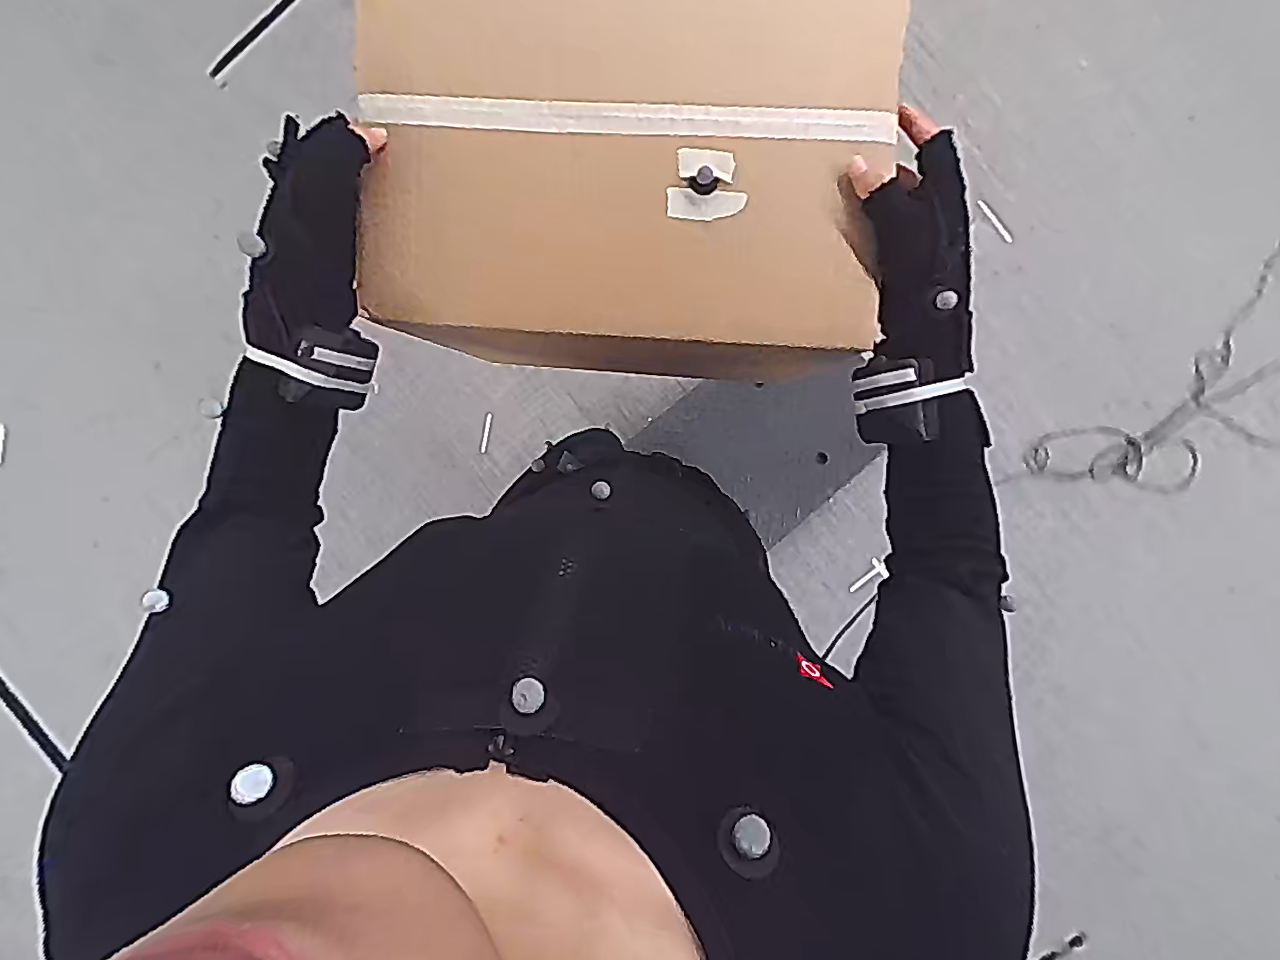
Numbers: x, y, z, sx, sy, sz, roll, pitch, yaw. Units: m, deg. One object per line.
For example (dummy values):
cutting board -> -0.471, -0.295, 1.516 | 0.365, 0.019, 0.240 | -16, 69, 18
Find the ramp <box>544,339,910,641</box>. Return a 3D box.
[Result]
ramp -> 0.263, -0.055, 1.538 | 0.991, 0.206, 0.509 | -41, 89, 4

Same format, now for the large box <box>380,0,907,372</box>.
large box -> 0.001, -0.294, 0.568 | 0.408, 0.320, 0.320 | 5, 96, 2
